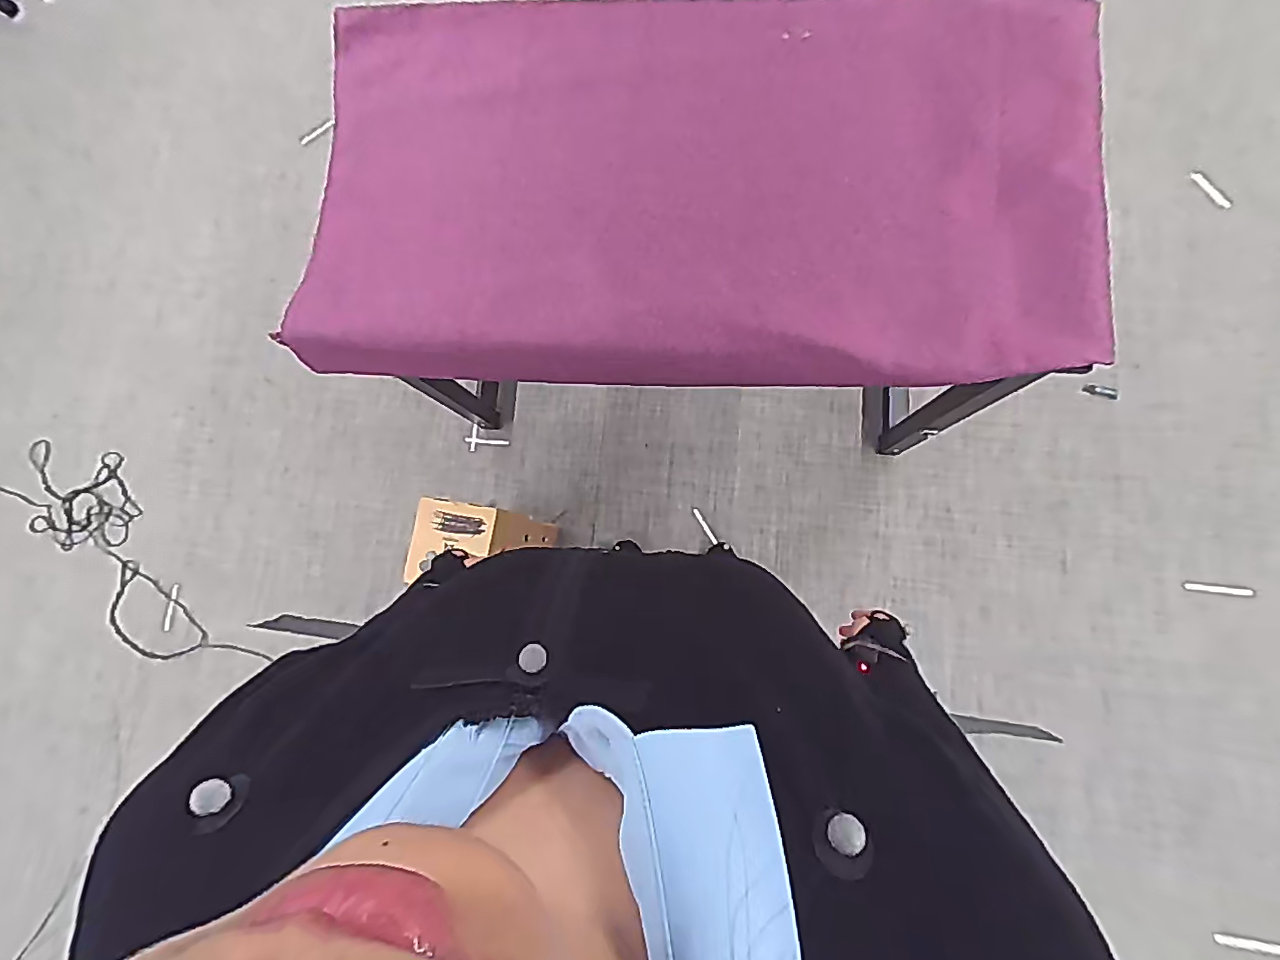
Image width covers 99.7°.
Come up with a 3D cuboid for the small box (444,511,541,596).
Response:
[{"bbox_3d":[-0.346,0.176,1.304,0.168,0.176,0.179,6,83,7],"label":"small box"}]

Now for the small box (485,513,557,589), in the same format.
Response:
[{"bbox_3d":[-0.337,0.196,1.468,0.168,0.176,0.179,11,83,7],"label":"small box"}]
